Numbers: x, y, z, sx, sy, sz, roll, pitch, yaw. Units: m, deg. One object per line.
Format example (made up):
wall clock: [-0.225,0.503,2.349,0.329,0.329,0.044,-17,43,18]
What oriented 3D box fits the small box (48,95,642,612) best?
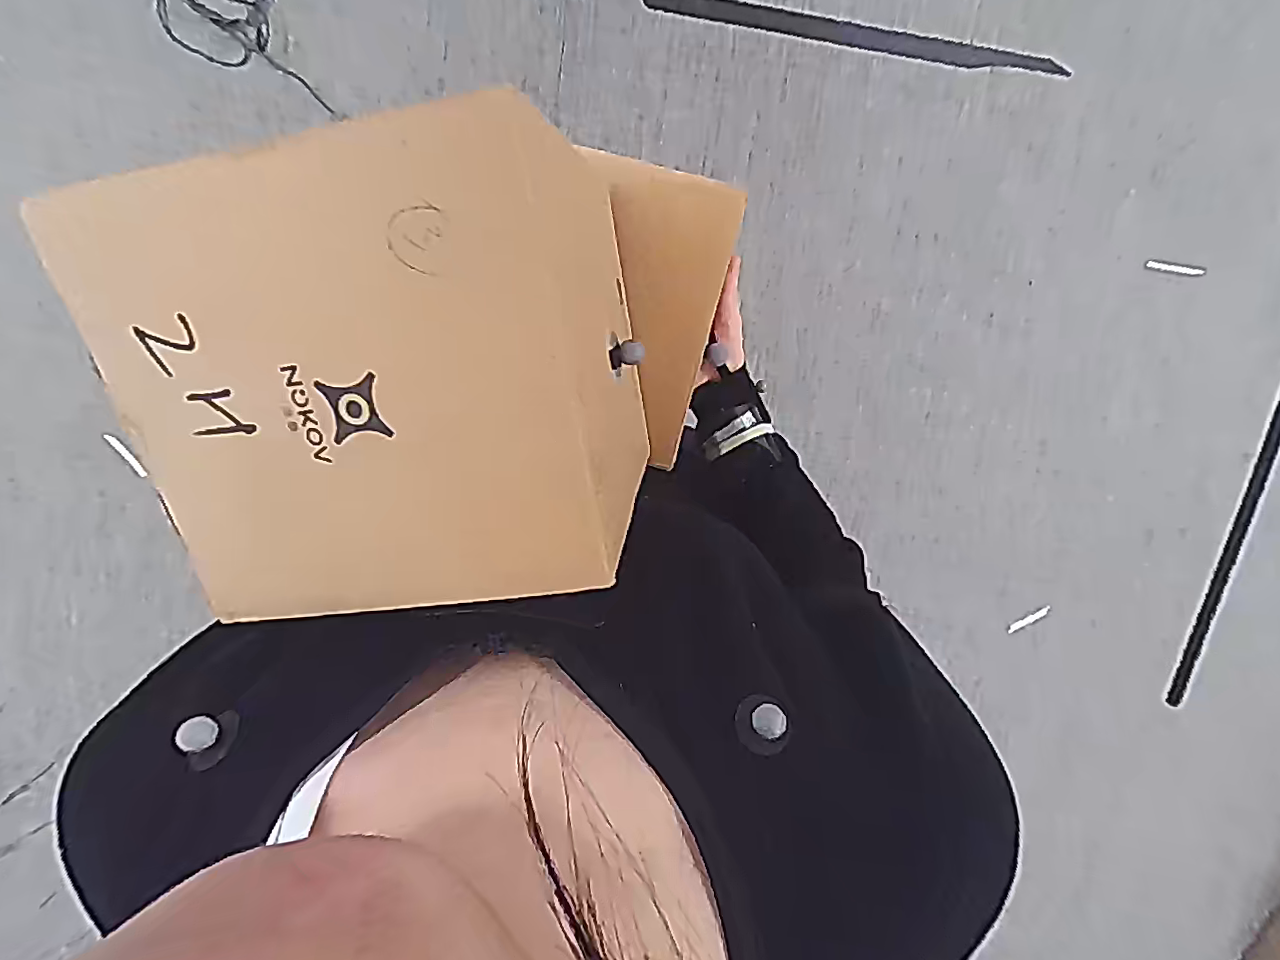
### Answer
small box: [-0.097,-0.053,0.268,0.179,0.176,0.168,-5,106,9]

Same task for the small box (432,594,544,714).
small box: [-0.275,0.310,1.011,0.168,0.176,0.179,1,102,0]

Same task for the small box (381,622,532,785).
small box: [-0.280,0.339,0.850,0.179,0.176,0.168,7,101,-1]

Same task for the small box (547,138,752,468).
small box: [-0.027,-0.132,0.415,0.168,0.176,0.179,15,109,0]
